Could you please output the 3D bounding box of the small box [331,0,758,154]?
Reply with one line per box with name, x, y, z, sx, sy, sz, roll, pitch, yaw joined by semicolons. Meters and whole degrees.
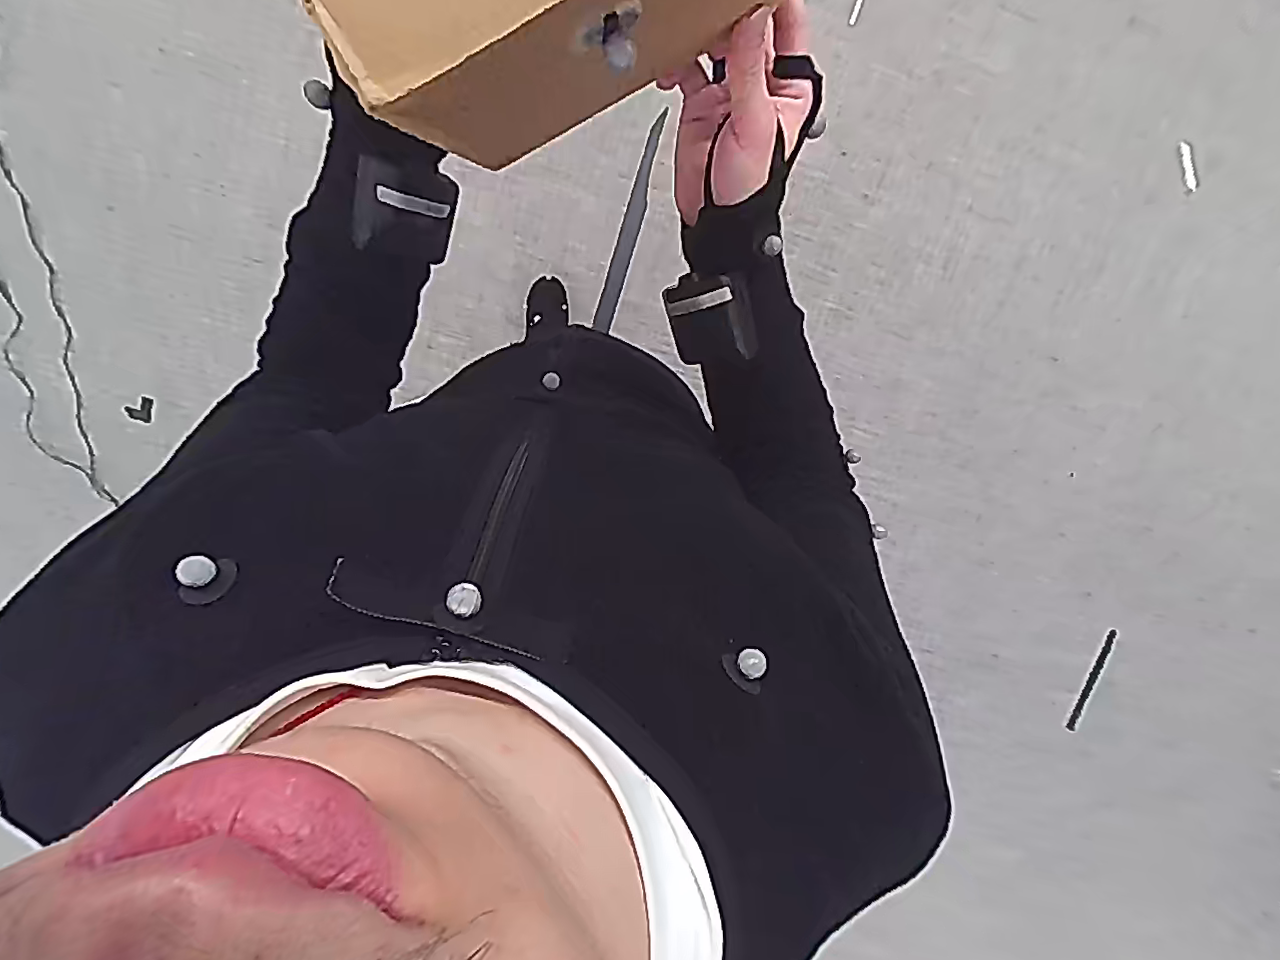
small box;-0.039;-0.255;0.209;0.179;0.176;0.168;-24;113;9
